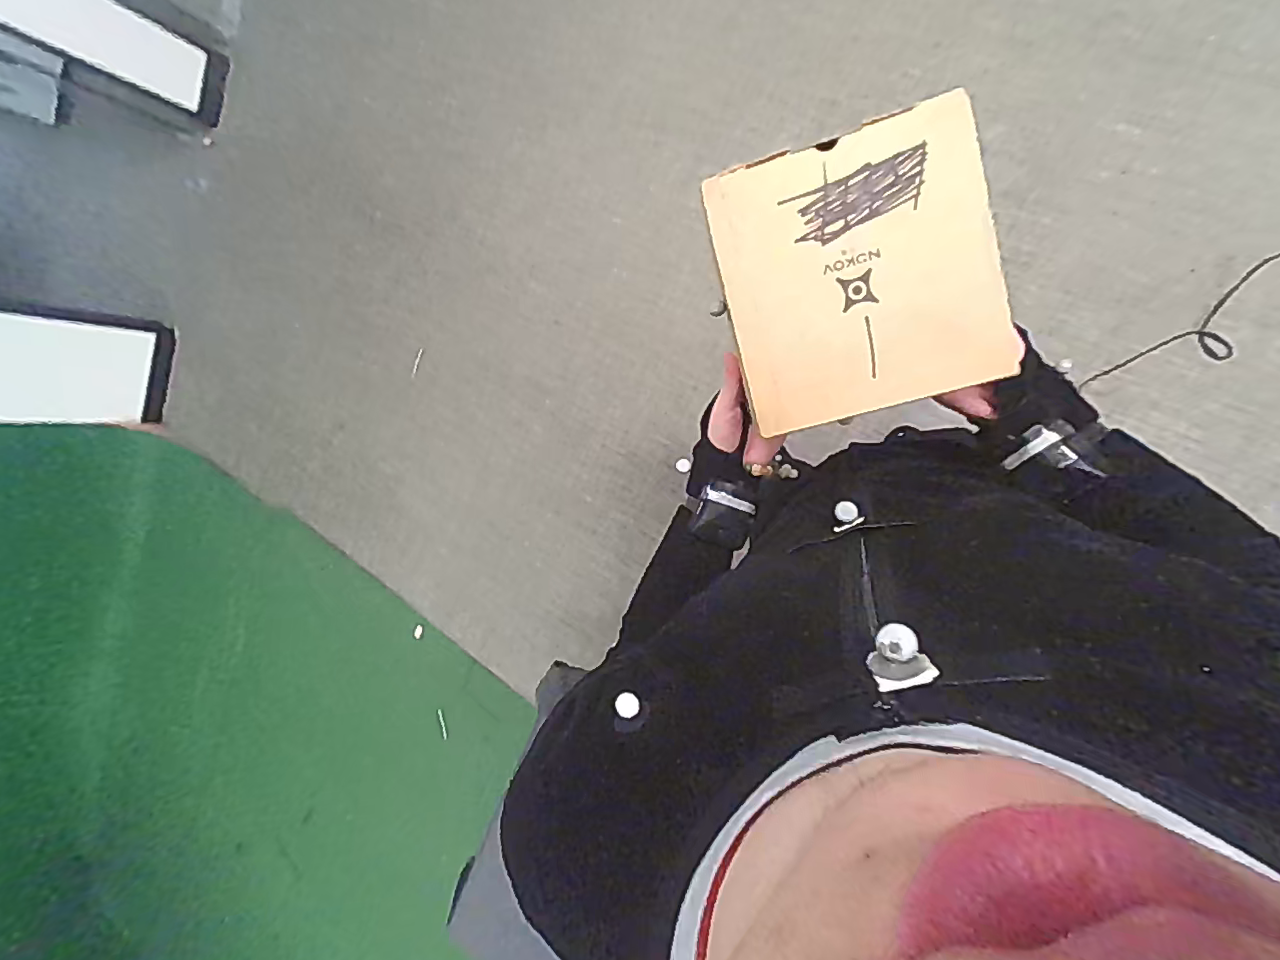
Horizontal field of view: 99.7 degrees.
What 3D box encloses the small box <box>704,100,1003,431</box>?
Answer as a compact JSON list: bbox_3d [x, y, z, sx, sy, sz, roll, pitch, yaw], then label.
[{"bbox_3d":[0.149,-0.146,0.431,0.168,0.176,0.179,-13,99,11],"label":"small box"}]
